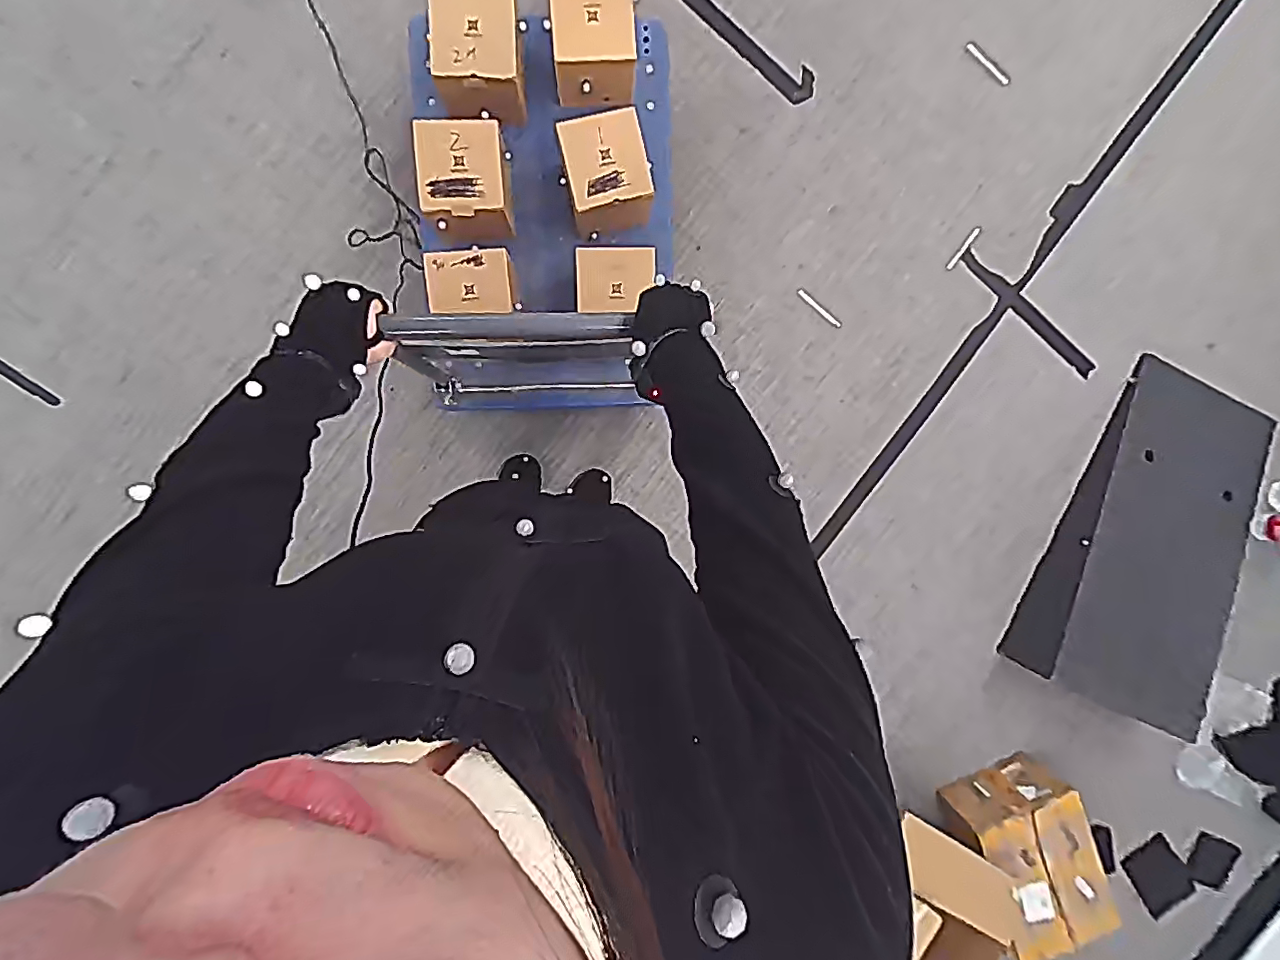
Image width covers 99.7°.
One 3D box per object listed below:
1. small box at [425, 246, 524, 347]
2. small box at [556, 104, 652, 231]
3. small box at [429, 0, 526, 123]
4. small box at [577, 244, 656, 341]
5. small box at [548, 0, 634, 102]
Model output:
[{"bbox_3d":[-0.350,-0.389,1.173,0.168,0.176,0.179,-6,96,-5],"label":"small box"},{"bbox_3d":[-0.076,-0.662,1.170,0.168,0.176,0.179,-14,96,-3],"label":"small box"},{"bbox_3d":[-0.332,-0.885,1.126,0.168,0.176,0.179,-1,96,-5],"label":"small box"},{"bbox_3d":[-0.053,-0.407,1.198,0.168,0.176,0.179,-2,96,-5],"label":"small box"},{"bbox_3d":[-0.102,-0.932,1.142,0.168,0.176,0.179,-5,96,-4],"label":"small box"}]
